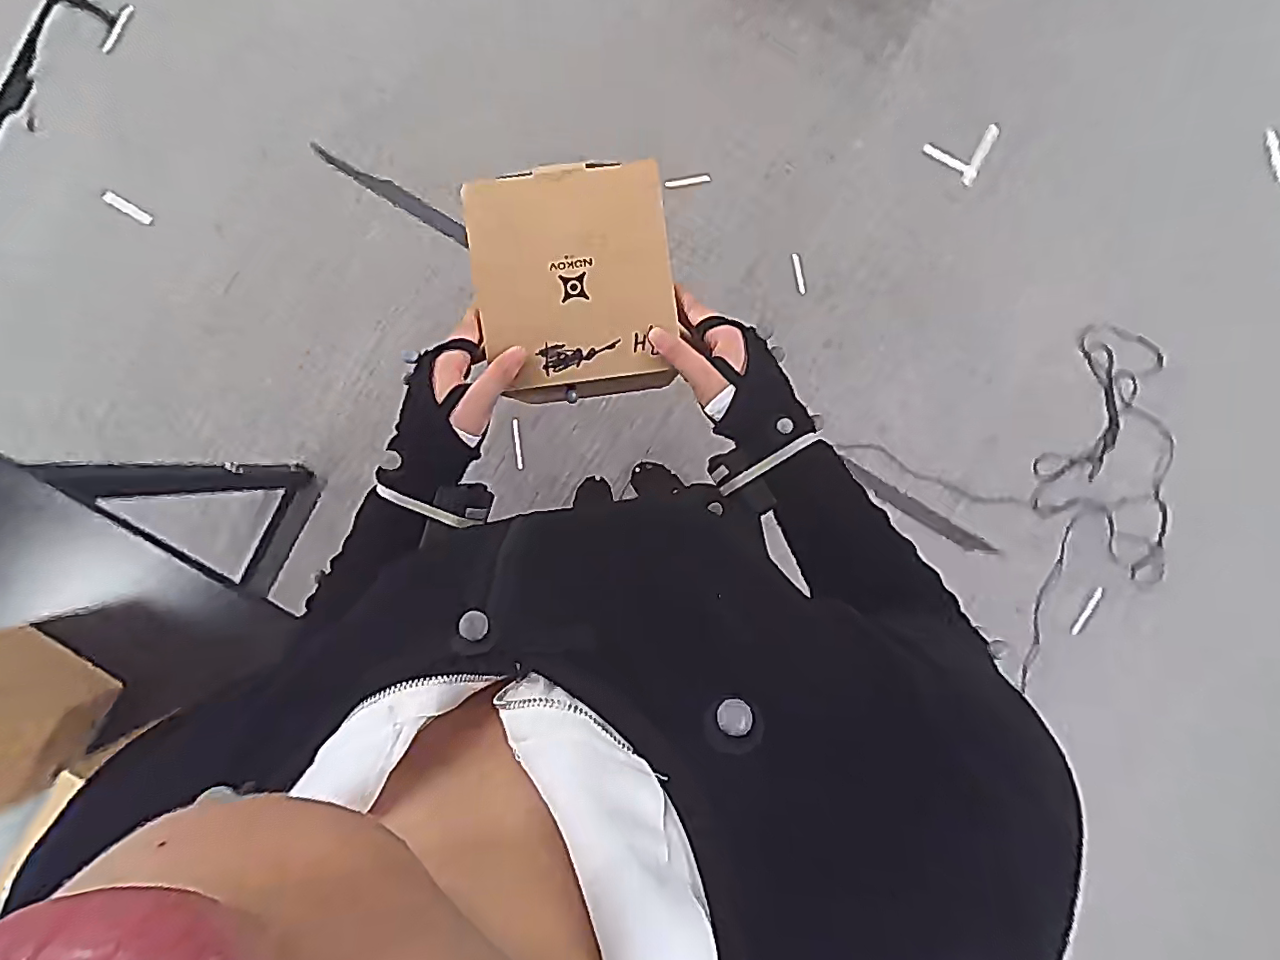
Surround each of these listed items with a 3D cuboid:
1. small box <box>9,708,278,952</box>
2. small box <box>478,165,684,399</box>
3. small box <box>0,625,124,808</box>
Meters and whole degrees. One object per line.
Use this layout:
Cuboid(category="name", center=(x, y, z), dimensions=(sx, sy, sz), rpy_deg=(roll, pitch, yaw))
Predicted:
Cuboid(category="small box", center=(-0.629, 0.440, 0.714), dimensions=(0.168, 0.176, 0.179), rpy_deg=(31, 92, 0))
Cuboid(category="small box", center=(-0.051, -0.180, 0.542), dimensions=(0.168, 0.176, 0.179), rpy_deg=(-6, 95, 0))
Cuboid(category="small box", center=(-0.860, 0.318, 0.714), dimensions=(0.179, 0.176, 0.168), rpy_deg=(32, 92, 1))
